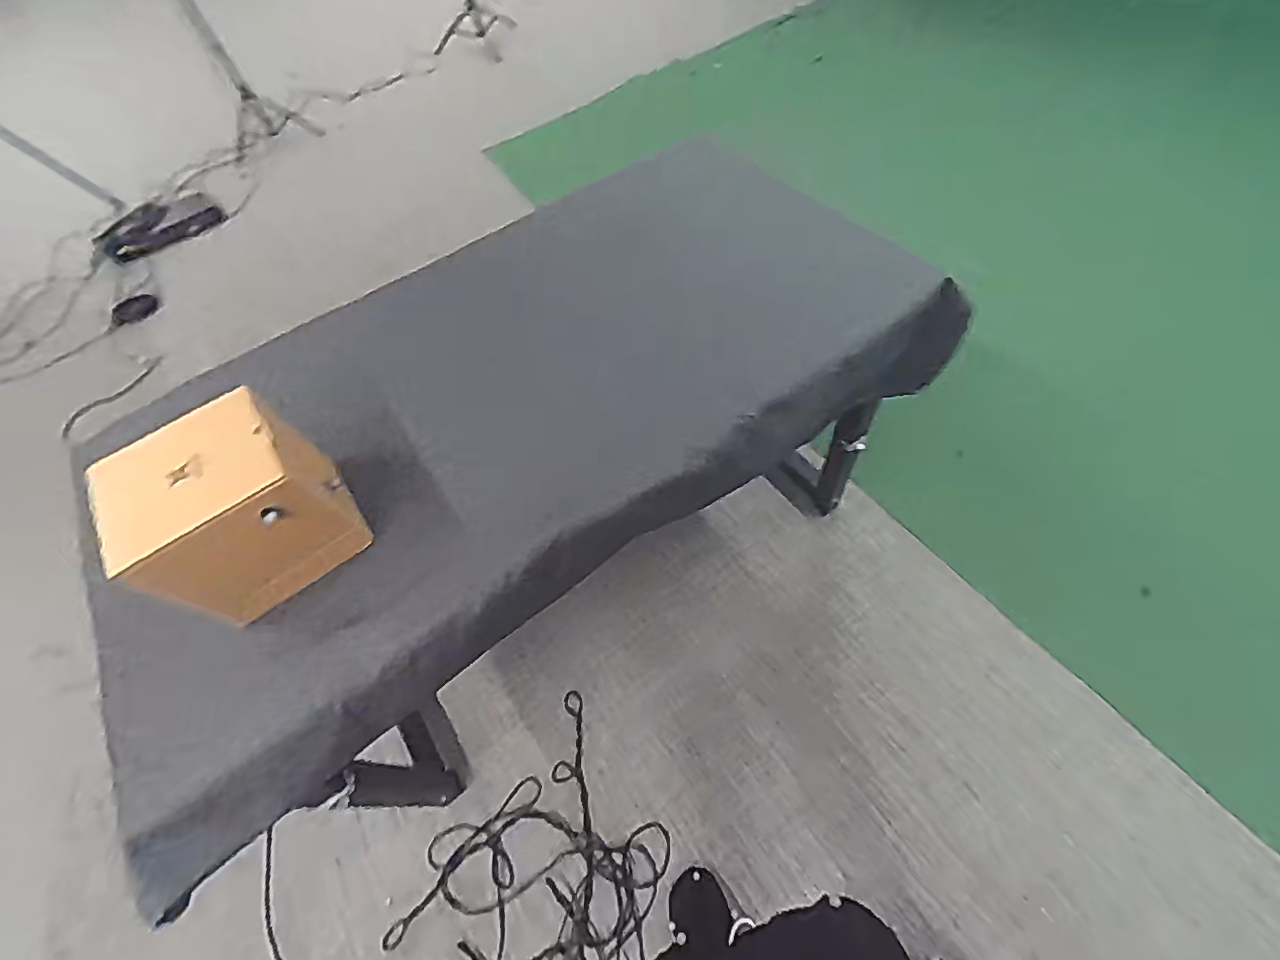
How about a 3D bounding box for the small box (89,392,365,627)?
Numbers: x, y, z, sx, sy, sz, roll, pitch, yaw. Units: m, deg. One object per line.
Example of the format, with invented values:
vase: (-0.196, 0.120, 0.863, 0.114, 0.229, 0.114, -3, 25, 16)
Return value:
small box: (-0.463, 0.040, 0.627, 0.179, 0.176, 0.168, -36, 61, -15)
